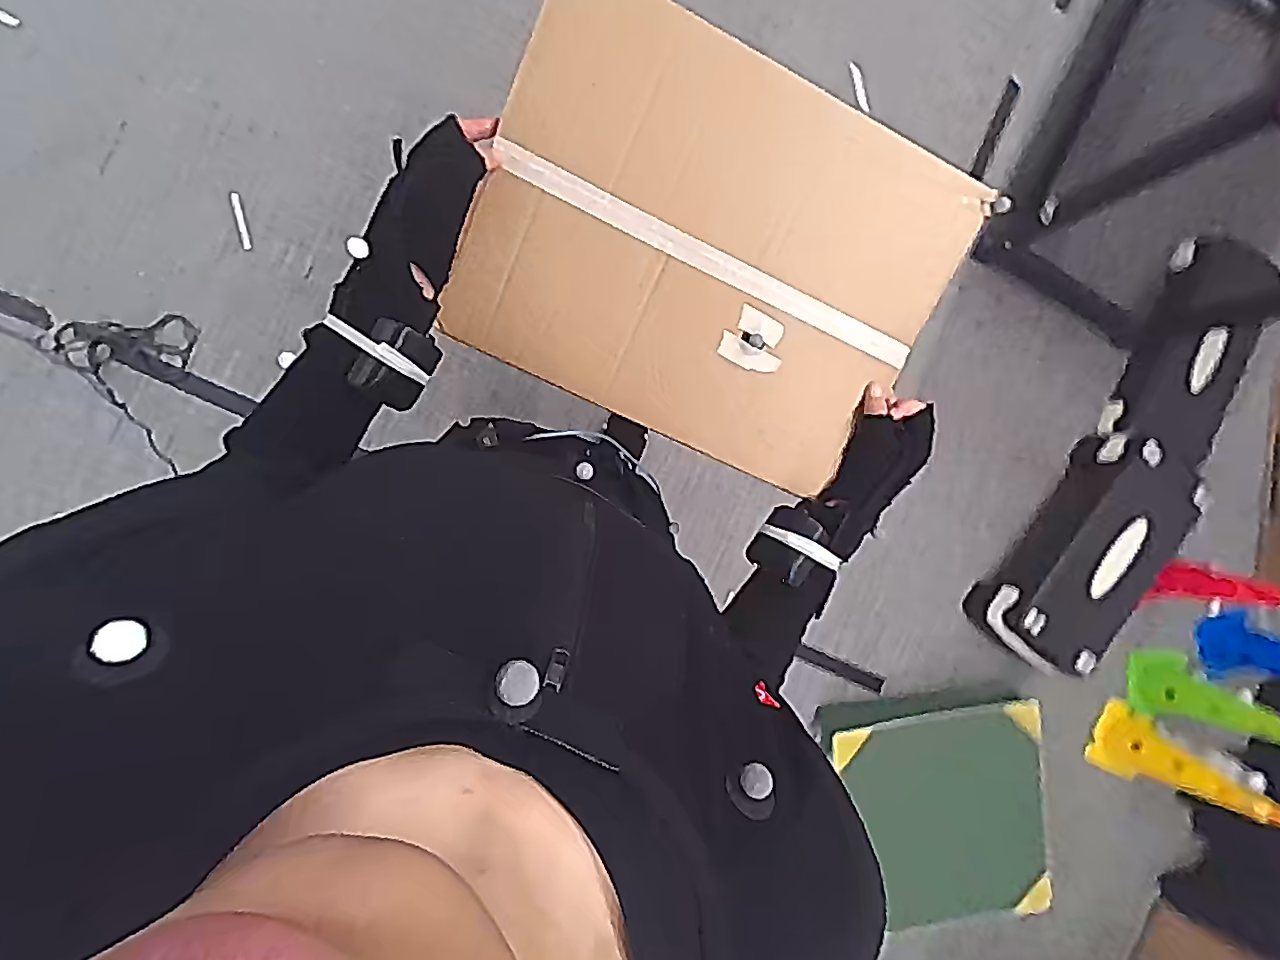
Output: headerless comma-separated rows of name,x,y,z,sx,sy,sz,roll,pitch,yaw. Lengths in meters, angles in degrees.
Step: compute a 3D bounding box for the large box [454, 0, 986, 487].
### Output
large box,0.061,-0.238,0.629,0.408,0.320,0.320,24,103,-9
